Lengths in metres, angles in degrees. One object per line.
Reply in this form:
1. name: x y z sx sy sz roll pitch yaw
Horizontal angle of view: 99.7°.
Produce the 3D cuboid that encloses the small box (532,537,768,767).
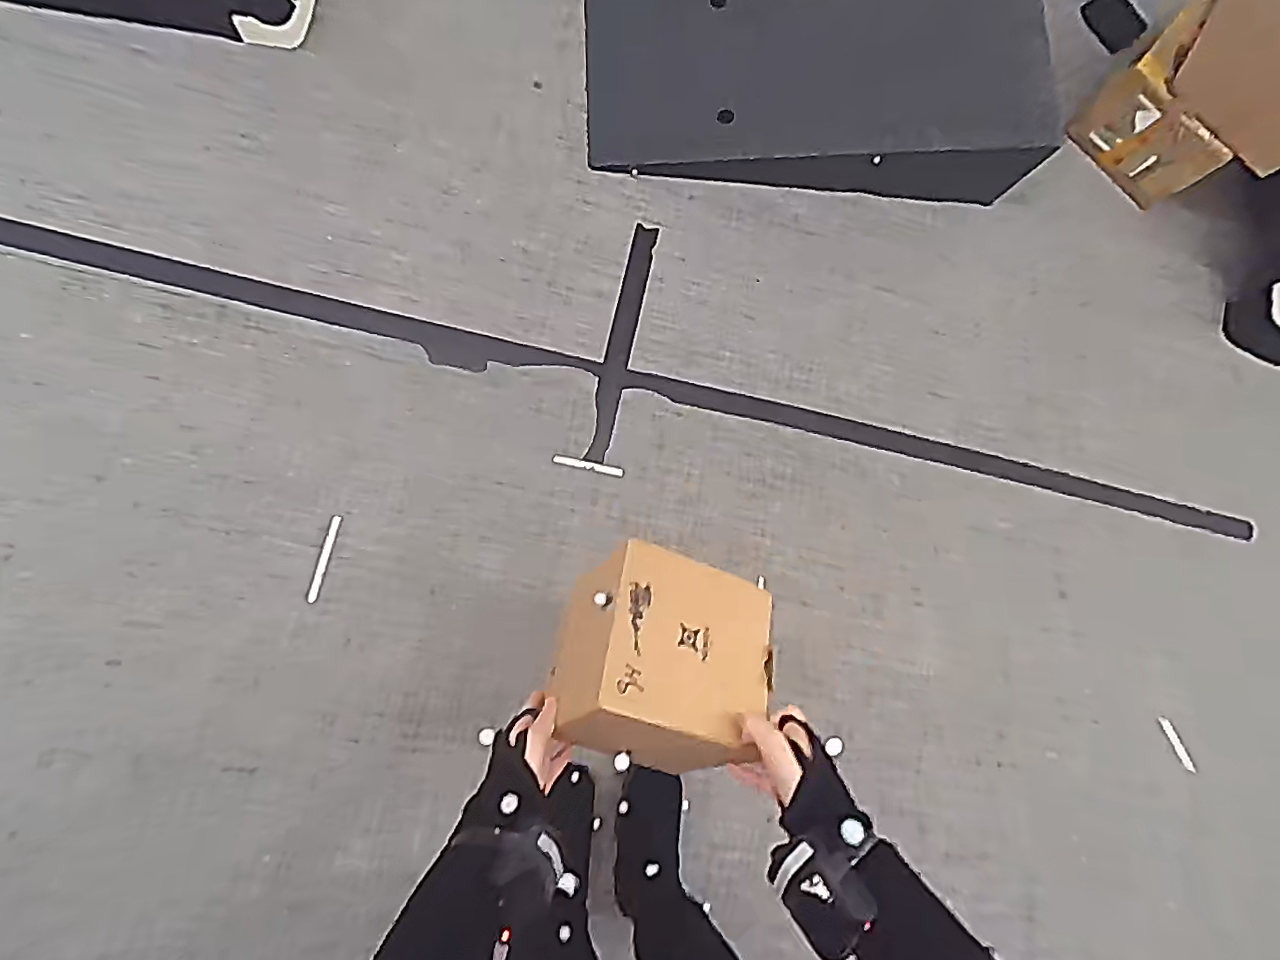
1. small box: 0.011 0.190 0.567 0.179 0.176 0.168 25 50 -17
